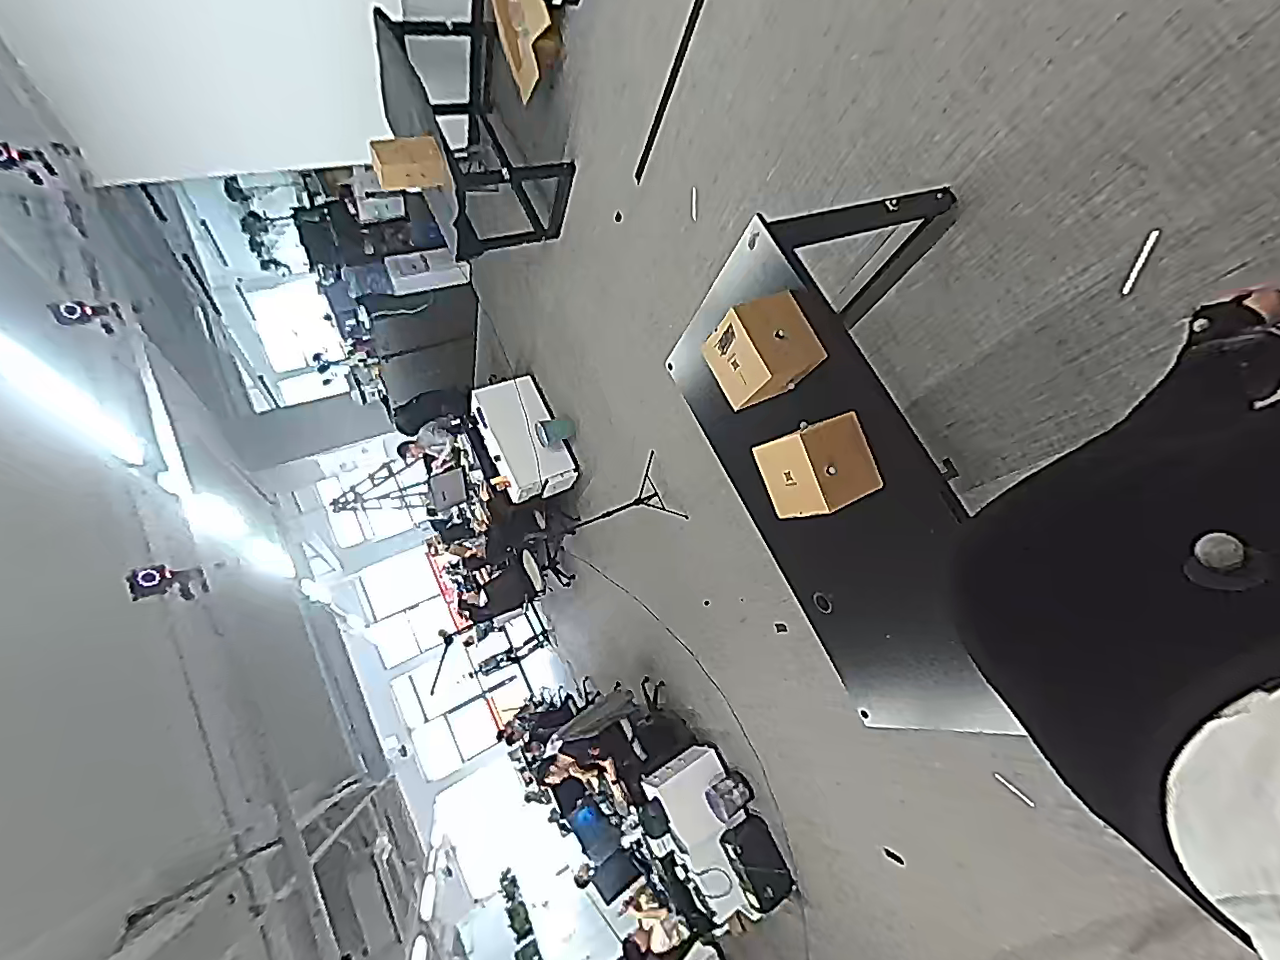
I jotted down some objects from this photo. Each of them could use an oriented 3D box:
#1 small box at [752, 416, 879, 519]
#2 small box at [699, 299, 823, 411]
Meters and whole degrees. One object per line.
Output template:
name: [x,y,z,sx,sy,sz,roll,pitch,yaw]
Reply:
small box: [0.385,-0.029,1.189,0.179,0.176,0.168,67,156,-1]
small box: [0.268,-0.284,1.208,0.179,0.176,0.168,62,155,9]
